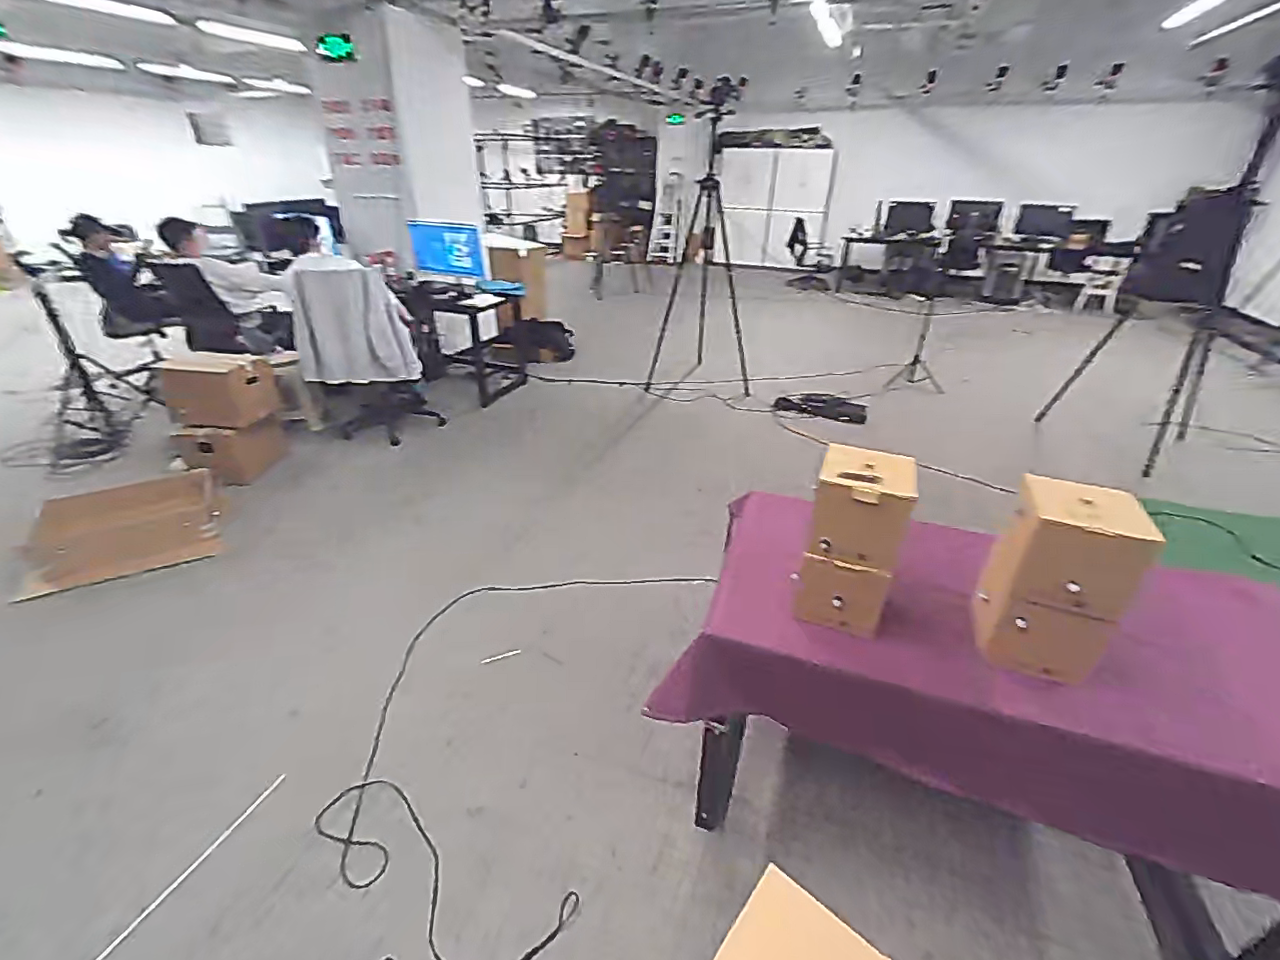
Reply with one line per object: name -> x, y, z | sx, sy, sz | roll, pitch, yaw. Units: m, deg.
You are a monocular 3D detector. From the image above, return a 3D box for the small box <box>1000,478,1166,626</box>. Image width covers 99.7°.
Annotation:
small box -> 0.765, 0.122, 0.960 | 0.168, 0.176, 0.179 | 14, 33, 21

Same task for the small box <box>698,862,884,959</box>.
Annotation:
small box -> 0.114, 0.429, 0.375 | 0.179, 0.176, 0.168 | 23, 44, 37

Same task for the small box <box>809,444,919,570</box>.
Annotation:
small box -> 0.439, 0.051, 1.065 | 0.168, 0.176, 0.179 | 14, 31, 20

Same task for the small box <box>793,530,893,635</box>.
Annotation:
small box -> 0.429, 0.196, 1.143 | 0.168, 0.176, 0.179 | 14, 33, 18
